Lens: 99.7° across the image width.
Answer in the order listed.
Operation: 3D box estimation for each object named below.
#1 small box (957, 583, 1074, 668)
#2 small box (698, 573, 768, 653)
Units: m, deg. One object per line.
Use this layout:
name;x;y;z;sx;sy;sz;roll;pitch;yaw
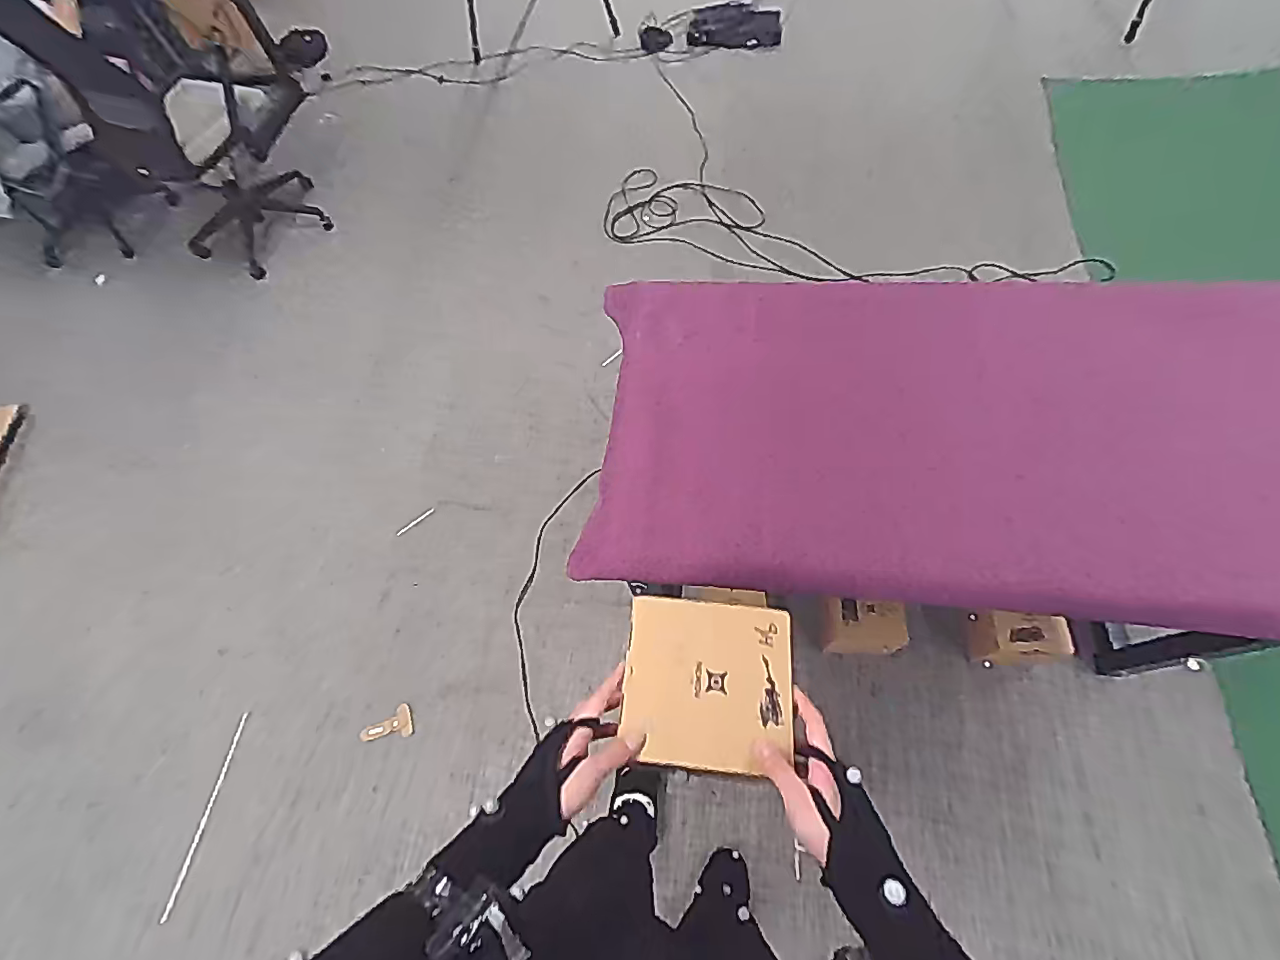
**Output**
small box;0.924;0.367;1.349;0.168;0.176;0.179;1;62;7
small box;0.242;0.359;1.432;0.168;0.176;0.179;-4;62;5
